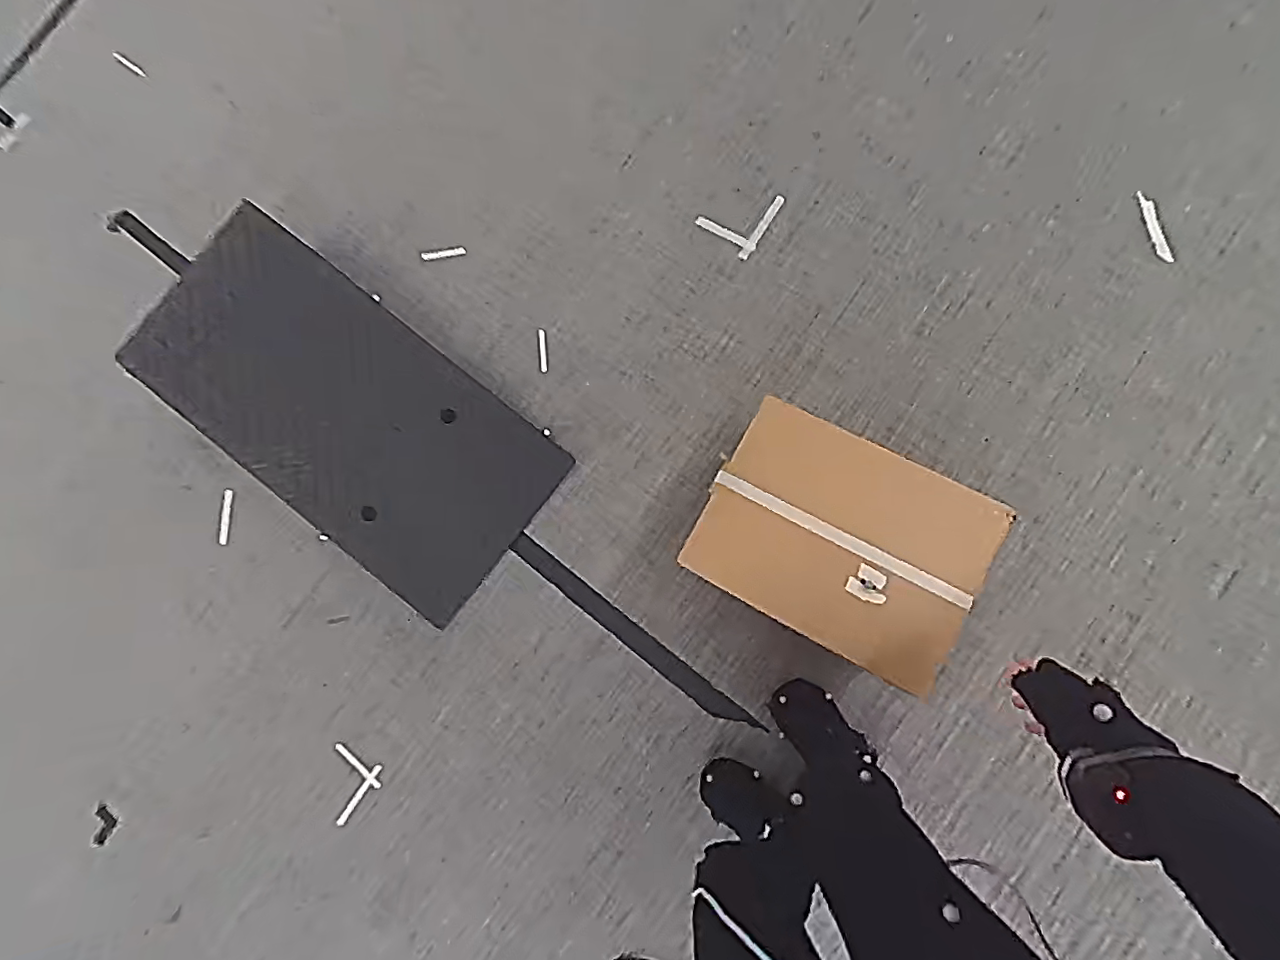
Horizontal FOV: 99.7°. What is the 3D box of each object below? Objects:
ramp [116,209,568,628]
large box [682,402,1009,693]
[{"bbox_3d":[-0.692,-0.157,1.256,0.991,0.206,0.509,36,87,13],"label":"ramp"},{"bbox_3d":[0.326,0.115,0.974,0.408,0.320,0.320,28,86,12],"label":"large box"}]
